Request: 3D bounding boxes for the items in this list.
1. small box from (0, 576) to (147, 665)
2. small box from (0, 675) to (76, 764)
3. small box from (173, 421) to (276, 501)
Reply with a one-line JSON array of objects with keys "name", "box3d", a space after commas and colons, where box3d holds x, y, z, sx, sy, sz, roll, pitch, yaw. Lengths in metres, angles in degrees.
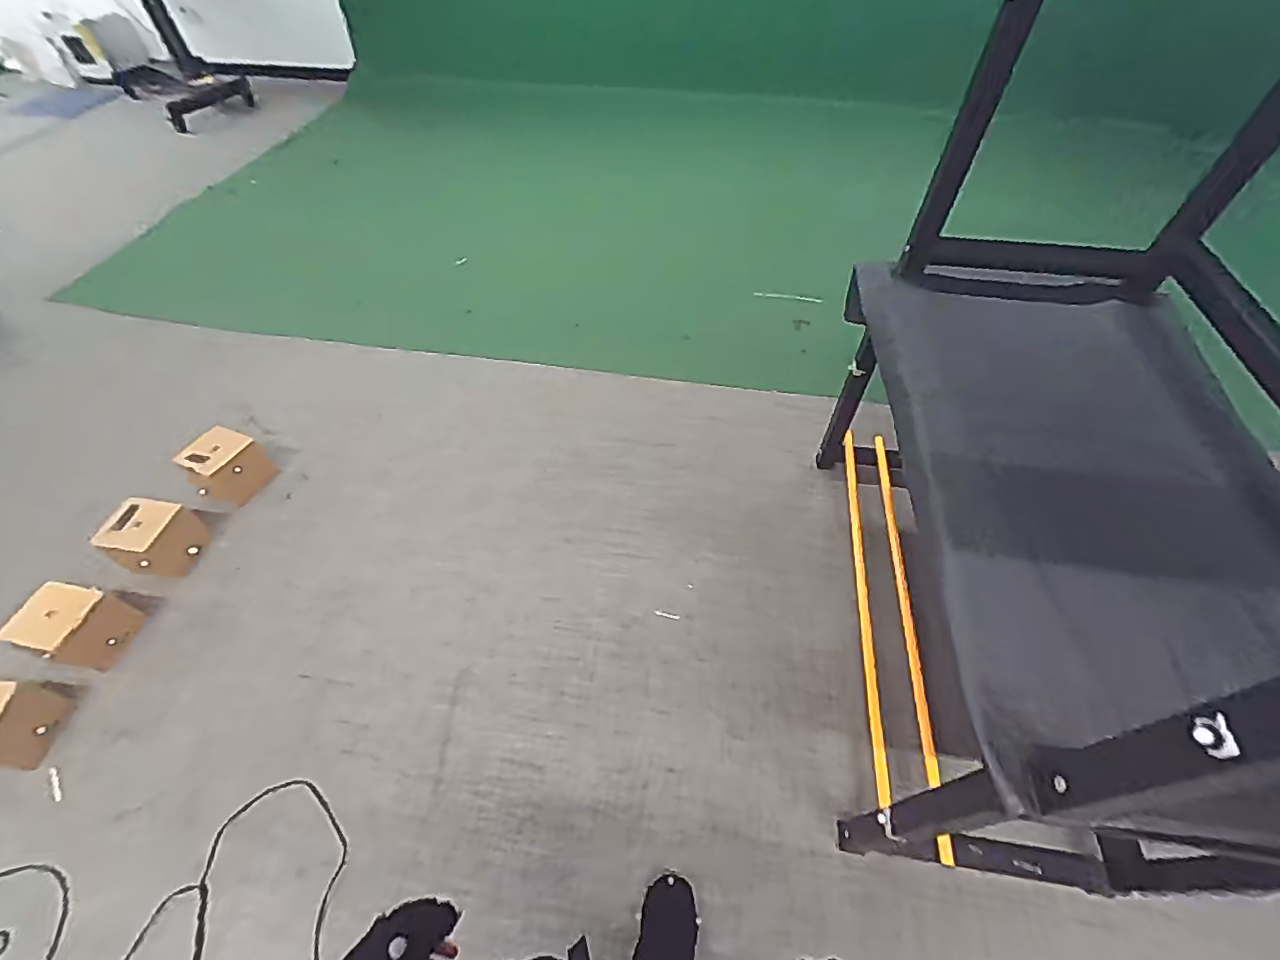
[{"name": "small box", "box3d": [-1.505, 0.380, 1.449, 0.179, 0.176, 0.168, 8, 53, 5]}, {"name": "small box", "box3d": [-1.549, 0.575, 1.296, 0.179, 0.176, 0.168, 1, 53, 1]}, {"name": "small box", "box3d": [-1.359, -0.058, 1.785, 0.168, 0.176, 0.179, 20, 53, 14]}]
